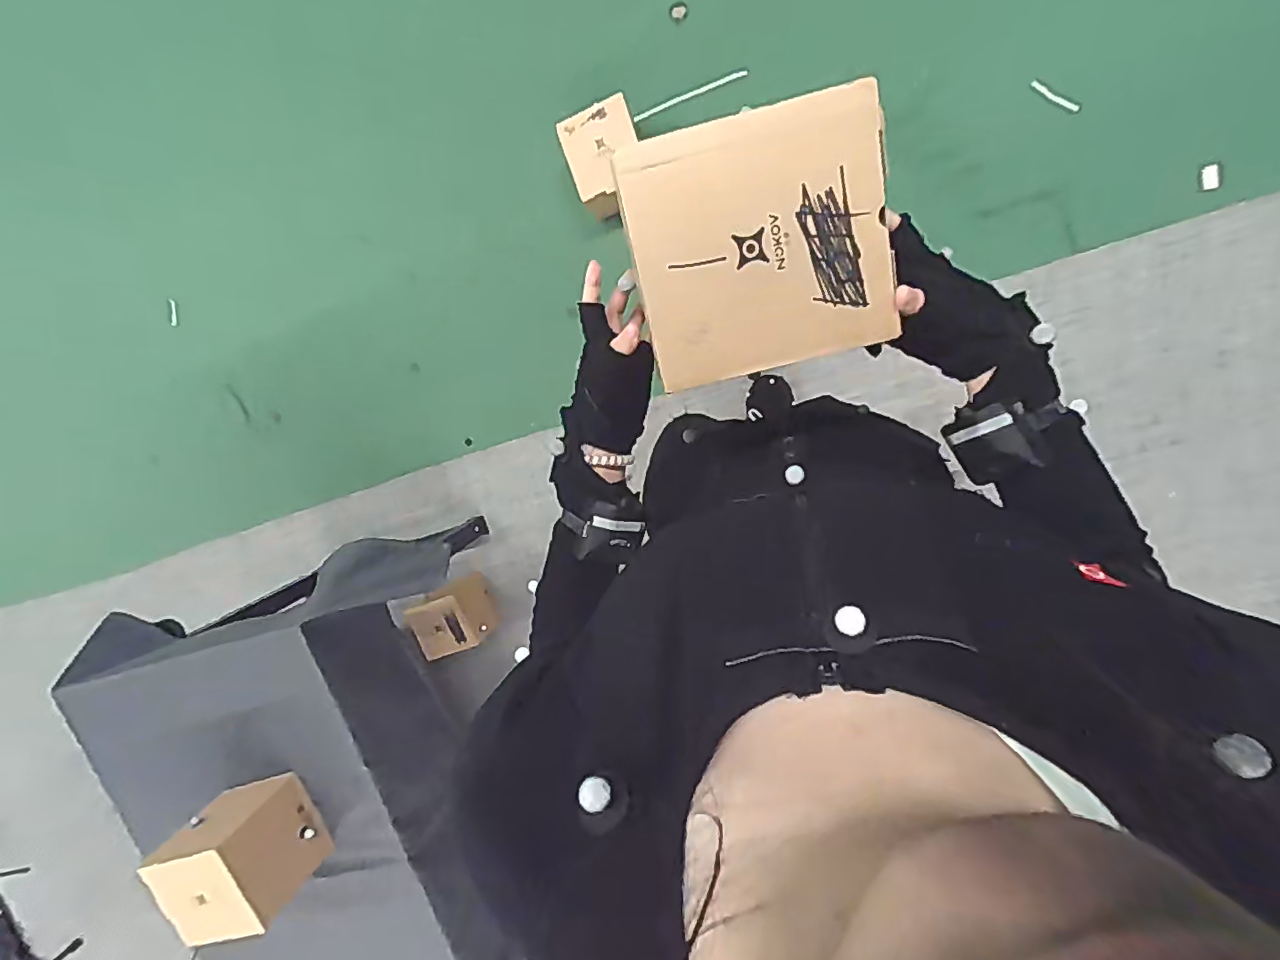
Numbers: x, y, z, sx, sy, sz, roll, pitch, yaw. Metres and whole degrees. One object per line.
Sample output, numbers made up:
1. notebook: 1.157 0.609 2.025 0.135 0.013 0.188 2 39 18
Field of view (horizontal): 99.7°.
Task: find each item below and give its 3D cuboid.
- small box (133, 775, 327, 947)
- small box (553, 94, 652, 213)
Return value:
1. small box: -0.696 0.651 0.938 0.179 0.176 0.168 -19 100 13
2. small box: -0.080 -0.753 1.275 0.168 0.176 0.179 -17 101 13
